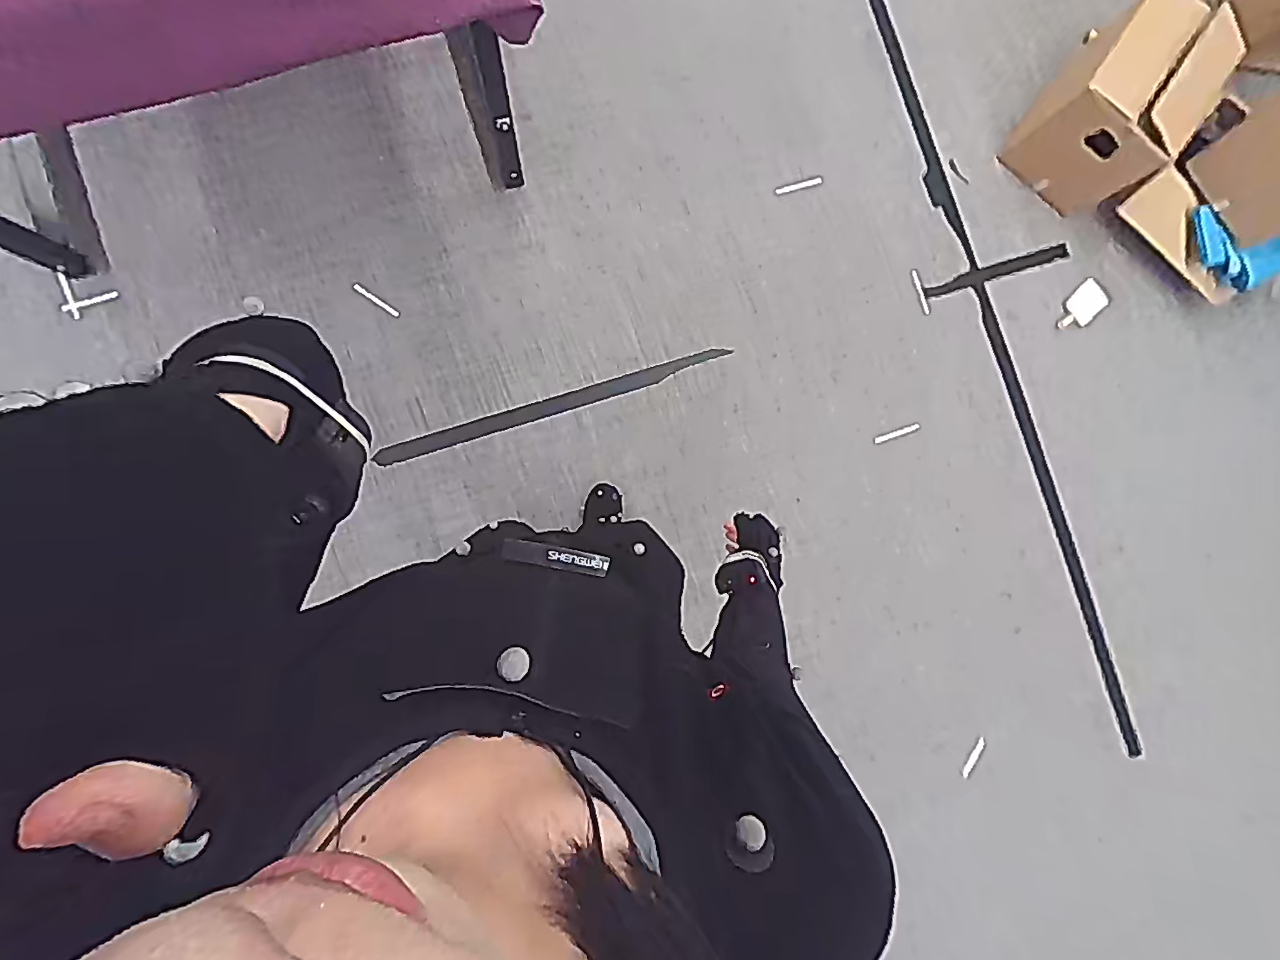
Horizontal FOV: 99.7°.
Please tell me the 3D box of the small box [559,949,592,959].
[{"bbox_3d":[-0.133,0.972,0.922,0.179,0.176,0.168,-25,93,-8],"label":"small box"}]
